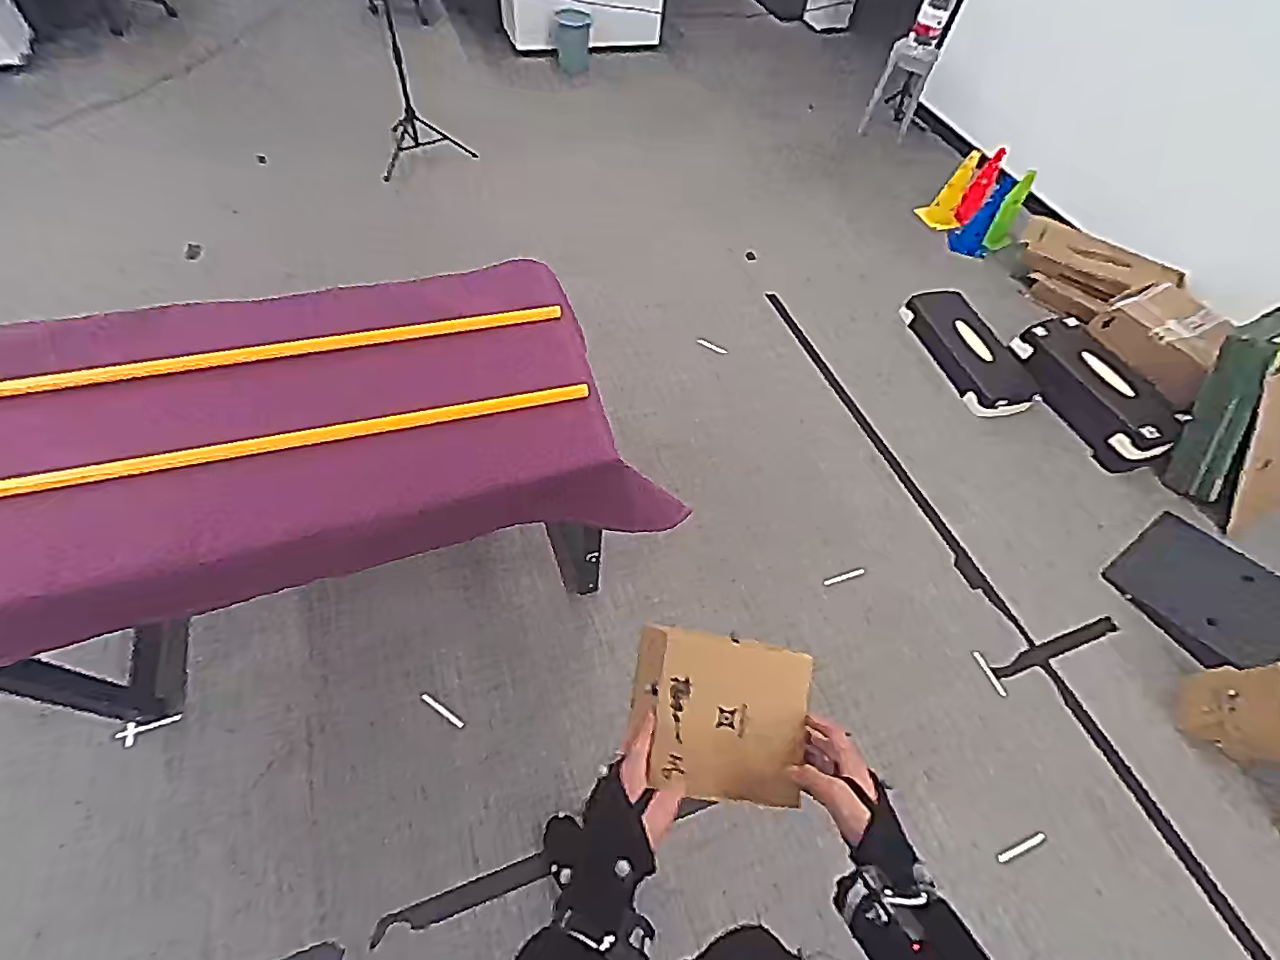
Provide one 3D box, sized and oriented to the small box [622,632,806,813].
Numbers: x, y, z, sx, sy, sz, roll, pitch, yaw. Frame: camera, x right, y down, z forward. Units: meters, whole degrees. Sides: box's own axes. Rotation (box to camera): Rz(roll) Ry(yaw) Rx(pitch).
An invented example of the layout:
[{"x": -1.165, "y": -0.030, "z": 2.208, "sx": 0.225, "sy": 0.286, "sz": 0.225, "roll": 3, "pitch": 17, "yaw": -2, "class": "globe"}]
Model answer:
[{"x": 0.084, "y": 0.291, "z": 0.683, "sx": 0.179, "sy": 0.176, "sz": 0.168, "roll": 11, "pitch": 77, "yaw": -8, "class": "small box"}]
